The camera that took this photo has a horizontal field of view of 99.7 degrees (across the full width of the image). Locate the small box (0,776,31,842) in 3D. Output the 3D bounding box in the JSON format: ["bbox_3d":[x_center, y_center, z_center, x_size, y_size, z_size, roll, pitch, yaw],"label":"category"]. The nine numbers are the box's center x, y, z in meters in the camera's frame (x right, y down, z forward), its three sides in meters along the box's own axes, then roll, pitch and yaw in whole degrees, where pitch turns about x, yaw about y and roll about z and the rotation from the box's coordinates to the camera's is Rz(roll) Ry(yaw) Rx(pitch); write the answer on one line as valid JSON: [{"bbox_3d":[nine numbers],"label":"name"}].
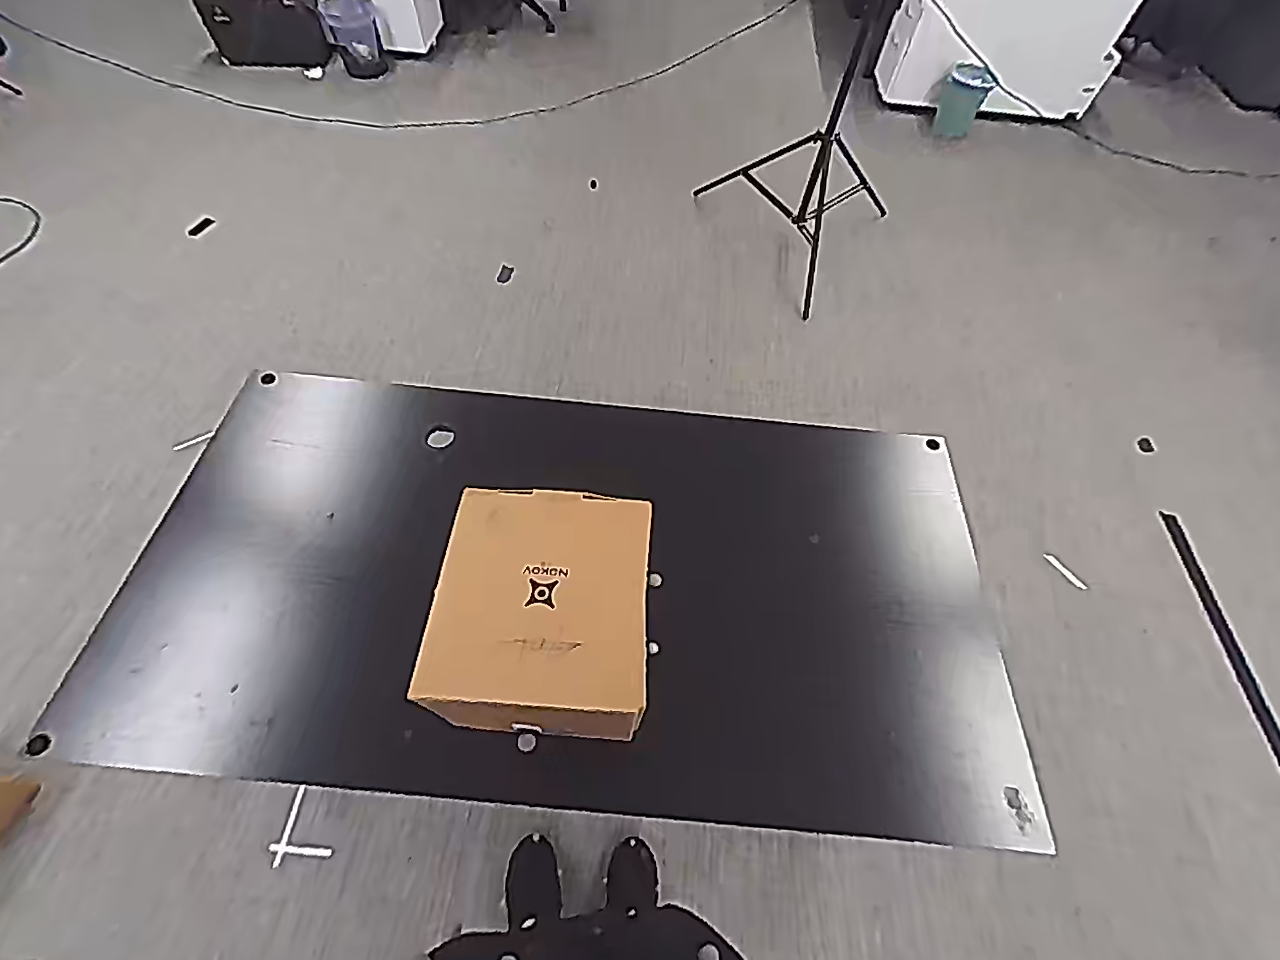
[{"bbox_3d":[-1.436,0.697,1.106,0.168,0.176,0.179,13,59,5],"label":"small box"}]

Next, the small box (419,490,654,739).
[{"bbox_3d":[-0.078,0.130,0.500,0.168,0.176,0.179,3,59,0],"label":"small box"}]
